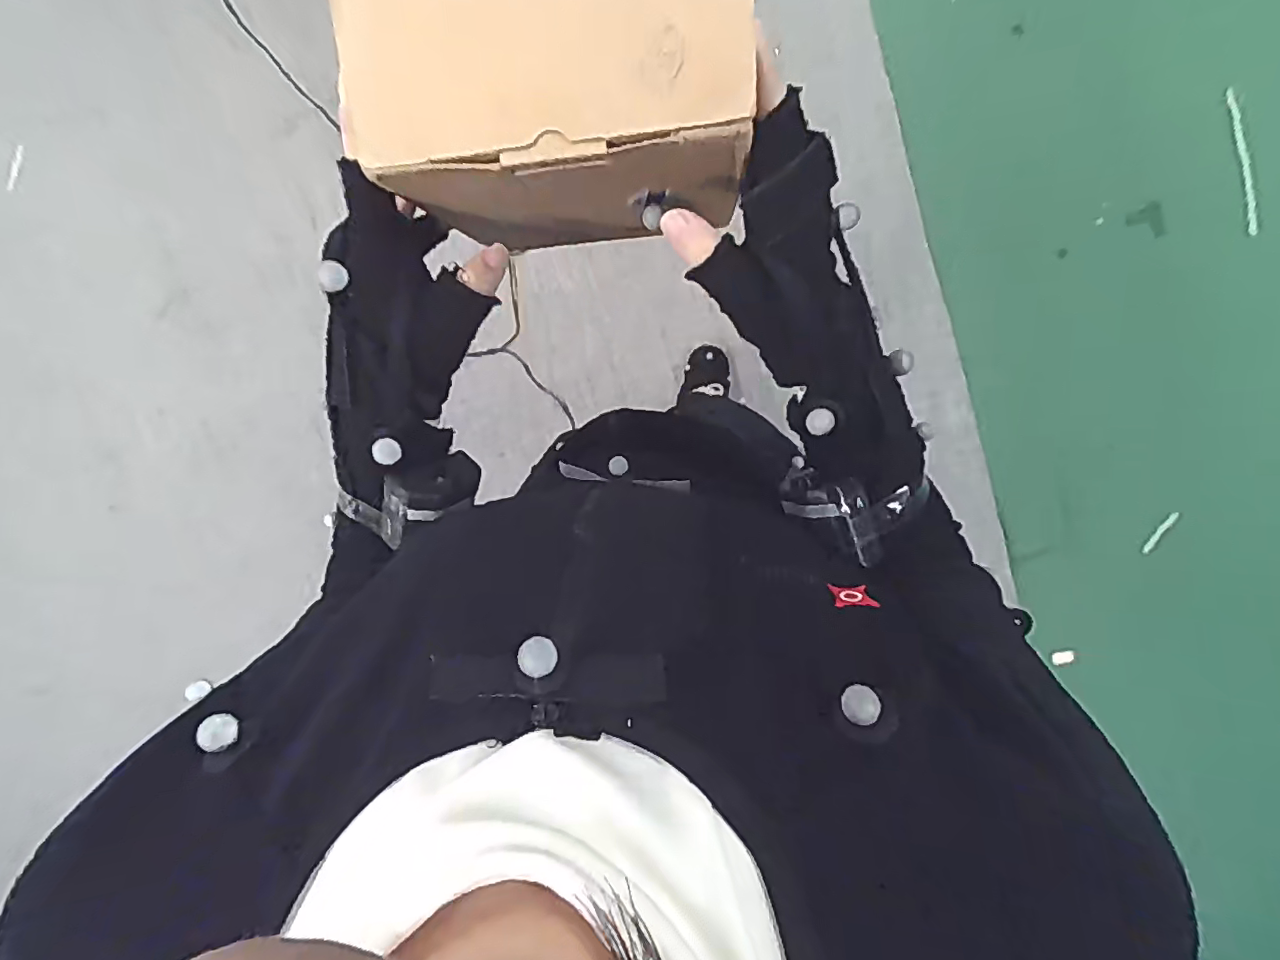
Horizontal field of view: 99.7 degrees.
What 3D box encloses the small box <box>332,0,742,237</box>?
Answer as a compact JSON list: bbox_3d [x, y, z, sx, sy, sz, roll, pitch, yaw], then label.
[{"bbox_3d":[-0.037,-0.237,0.283,0.168,0.176,0.179,-4,101,5],"label":"small box"}]
